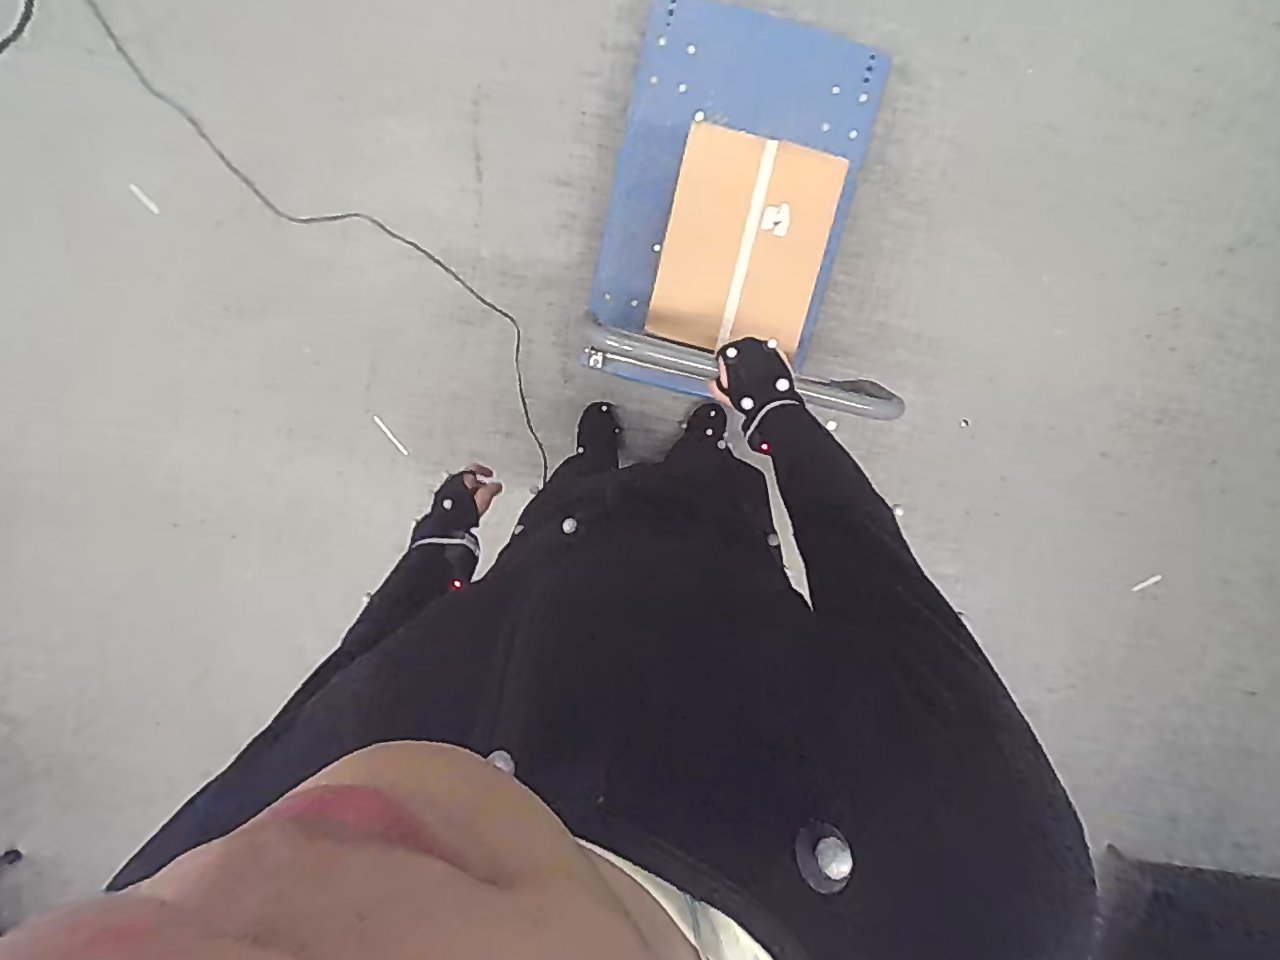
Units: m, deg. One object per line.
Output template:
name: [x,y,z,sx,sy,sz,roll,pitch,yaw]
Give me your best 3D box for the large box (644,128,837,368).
large box: [0.195,-0.482,1.223,0.320,0.320,0.408,12,101,-4]
